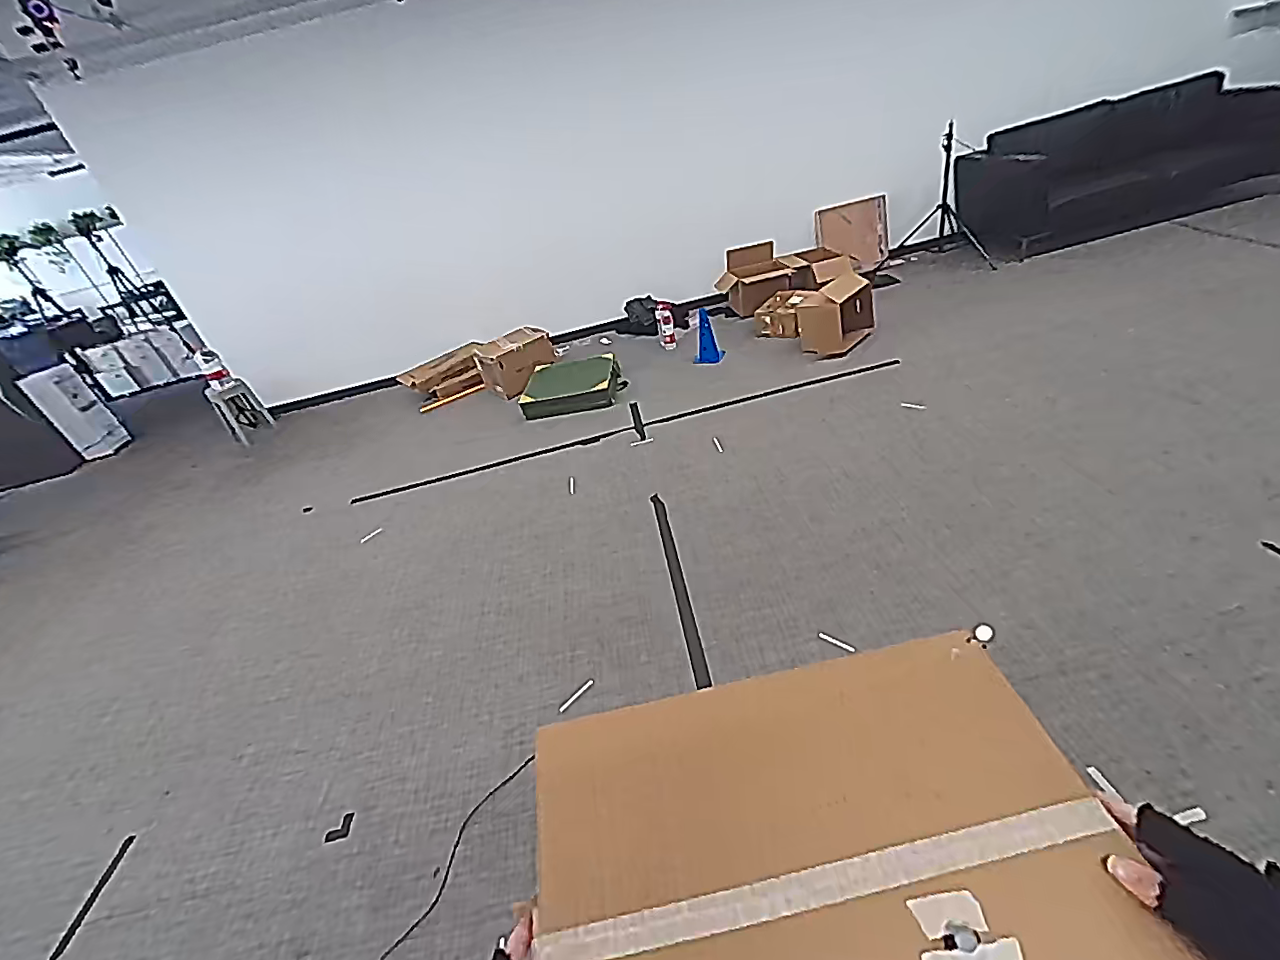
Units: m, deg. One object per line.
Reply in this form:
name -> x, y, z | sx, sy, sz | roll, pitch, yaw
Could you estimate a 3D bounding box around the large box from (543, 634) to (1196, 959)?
large box -> 0.150, 0.395, 0.481 | 0.408, 0.320, 0.320 | -12, 41, -3
